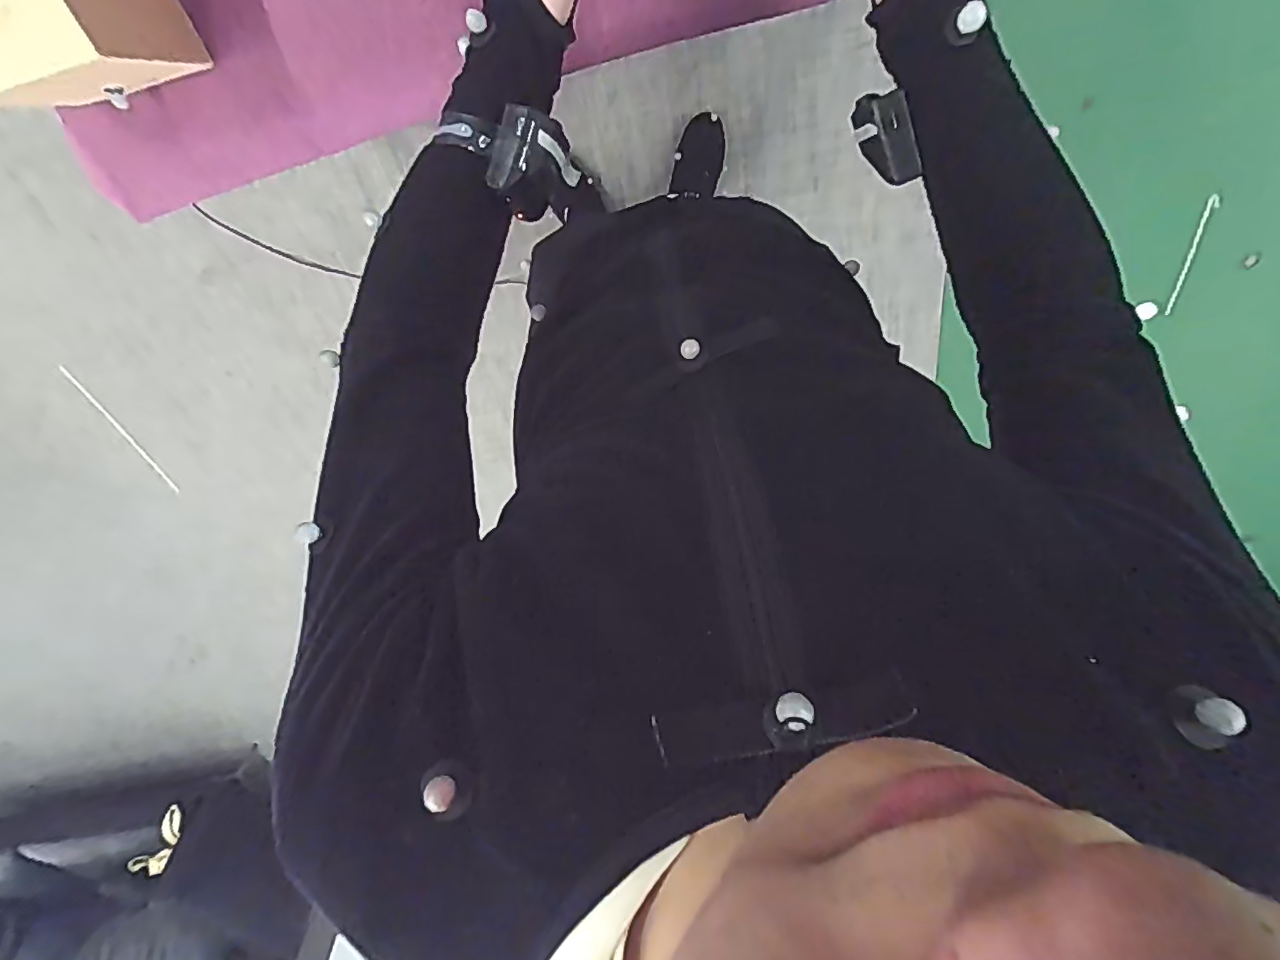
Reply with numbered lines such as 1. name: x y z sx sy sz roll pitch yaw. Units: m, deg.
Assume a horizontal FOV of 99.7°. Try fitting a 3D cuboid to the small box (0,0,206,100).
1. small box: -0.572 -0.473 0.499 0.168 0.176 0.179 -11 125 6
